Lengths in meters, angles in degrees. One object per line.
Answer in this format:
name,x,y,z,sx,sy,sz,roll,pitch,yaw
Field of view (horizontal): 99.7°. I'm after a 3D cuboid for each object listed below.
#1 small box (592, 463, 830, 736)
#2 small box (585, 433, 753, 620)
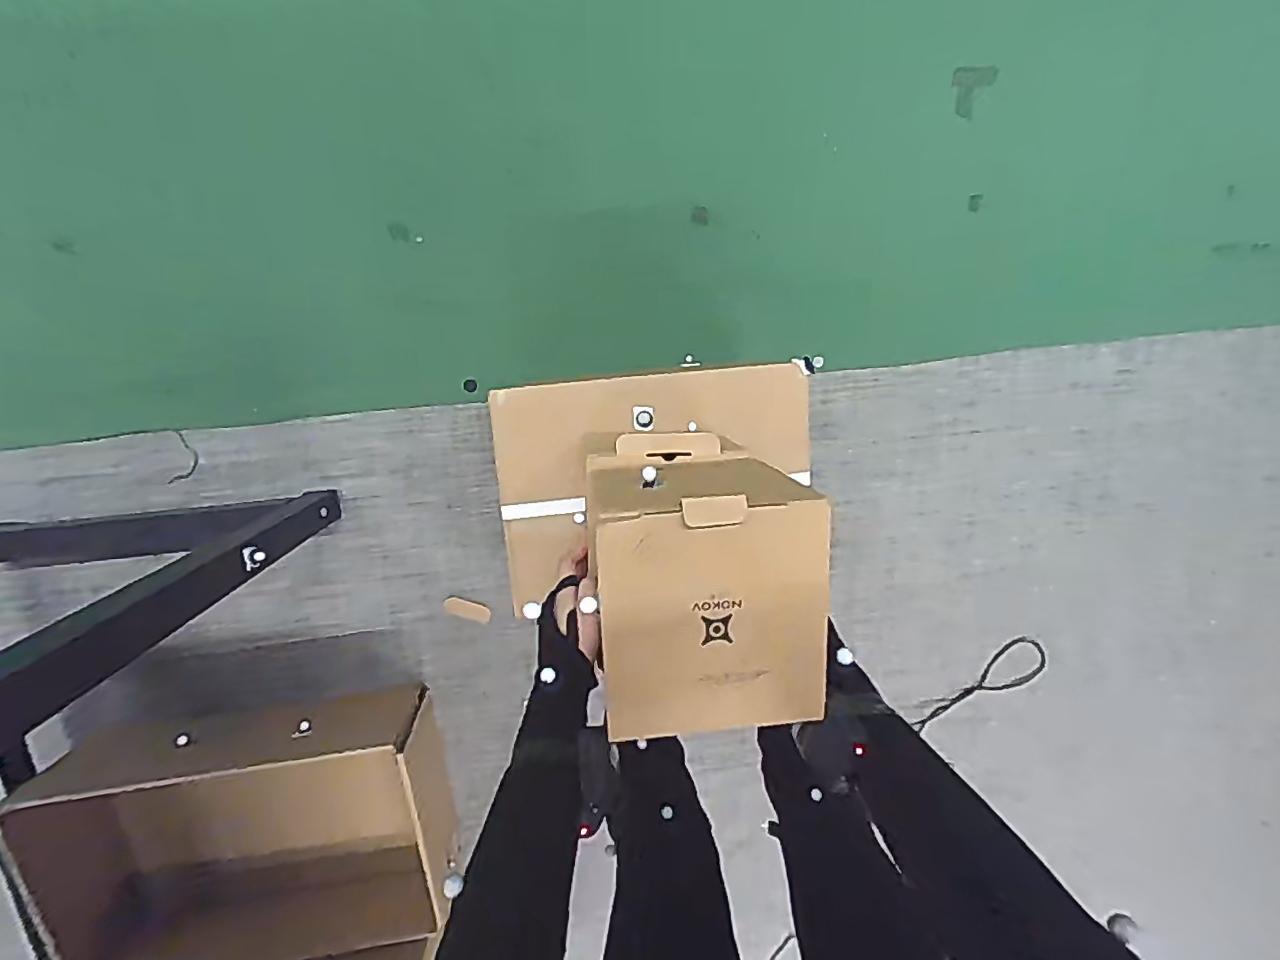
small box,0.046,0.082,0.463,0.168,0.176,0.179,-3,102,-5
small box,0.021,0.040,0.619,0.168,0.176,0.179,-1,103,-6
